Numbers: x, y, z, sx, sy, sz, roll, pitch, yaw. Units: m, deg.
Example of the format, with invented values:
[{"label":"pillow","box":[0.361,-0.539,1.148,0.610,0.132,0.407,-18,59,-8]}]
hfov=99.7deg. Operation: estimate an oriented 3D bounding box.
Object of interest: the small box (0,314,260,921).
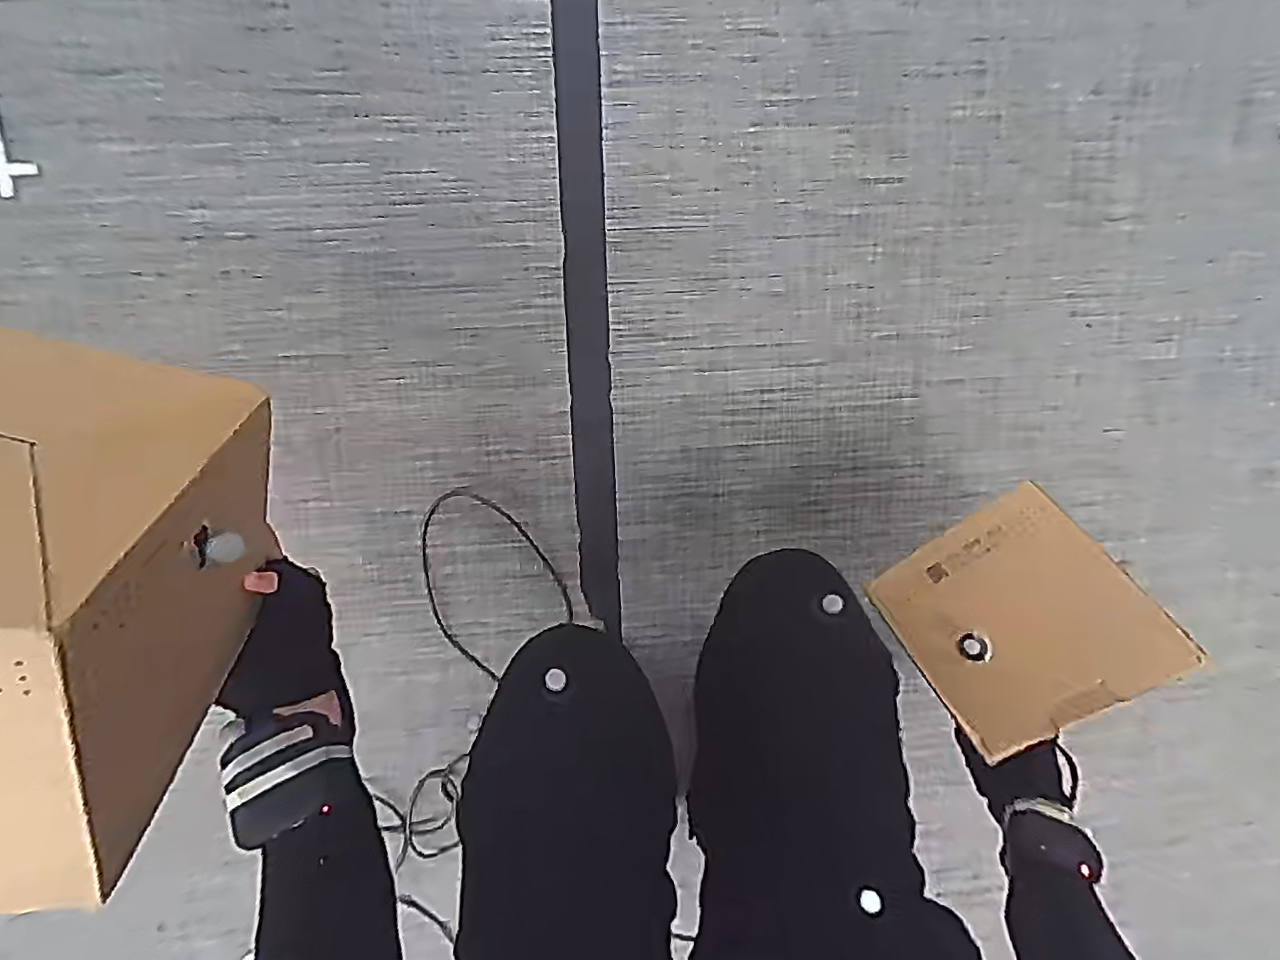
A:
[{"label":"small box","box":[-0.278,0.041,0.216,0.168,0.179,0.176,13,119,-20]}]

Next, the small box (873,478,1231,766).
[{"label":"small box","box":[0.338,0.118,0.481,0.168,0.179,0.176,-41,59,22]}]
